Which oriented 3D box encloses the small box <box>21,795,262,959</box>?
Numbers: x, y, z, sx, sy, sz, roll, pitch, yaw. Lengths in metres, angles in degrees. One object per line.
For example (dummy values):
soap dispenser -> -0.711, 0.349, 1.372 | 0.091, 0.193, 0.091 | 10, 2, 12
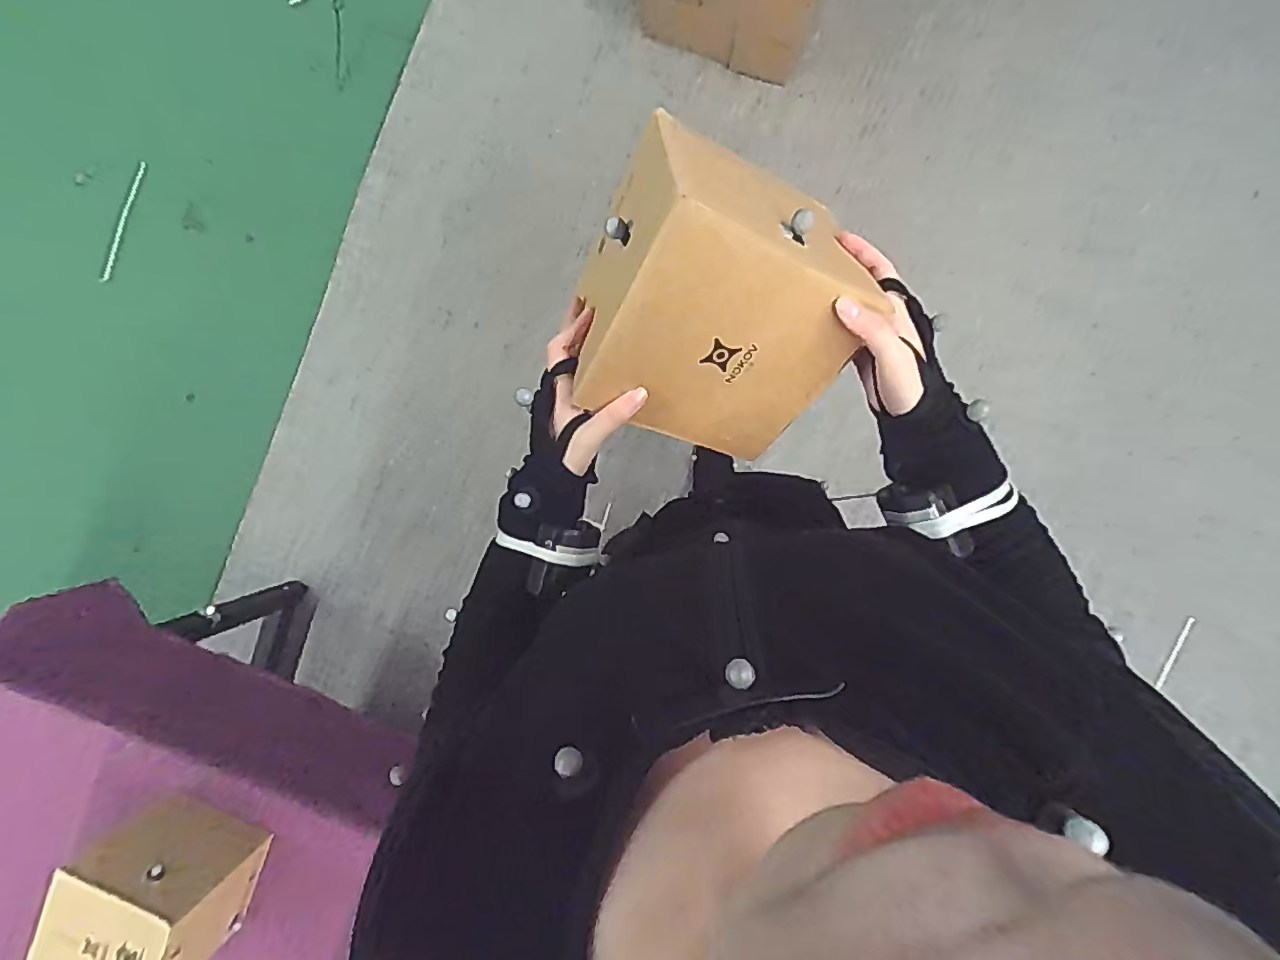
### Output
small box -> -0.691, 0.592, 0.767 | 0.179, 0.176, 0.168 | 22, 94, 4
